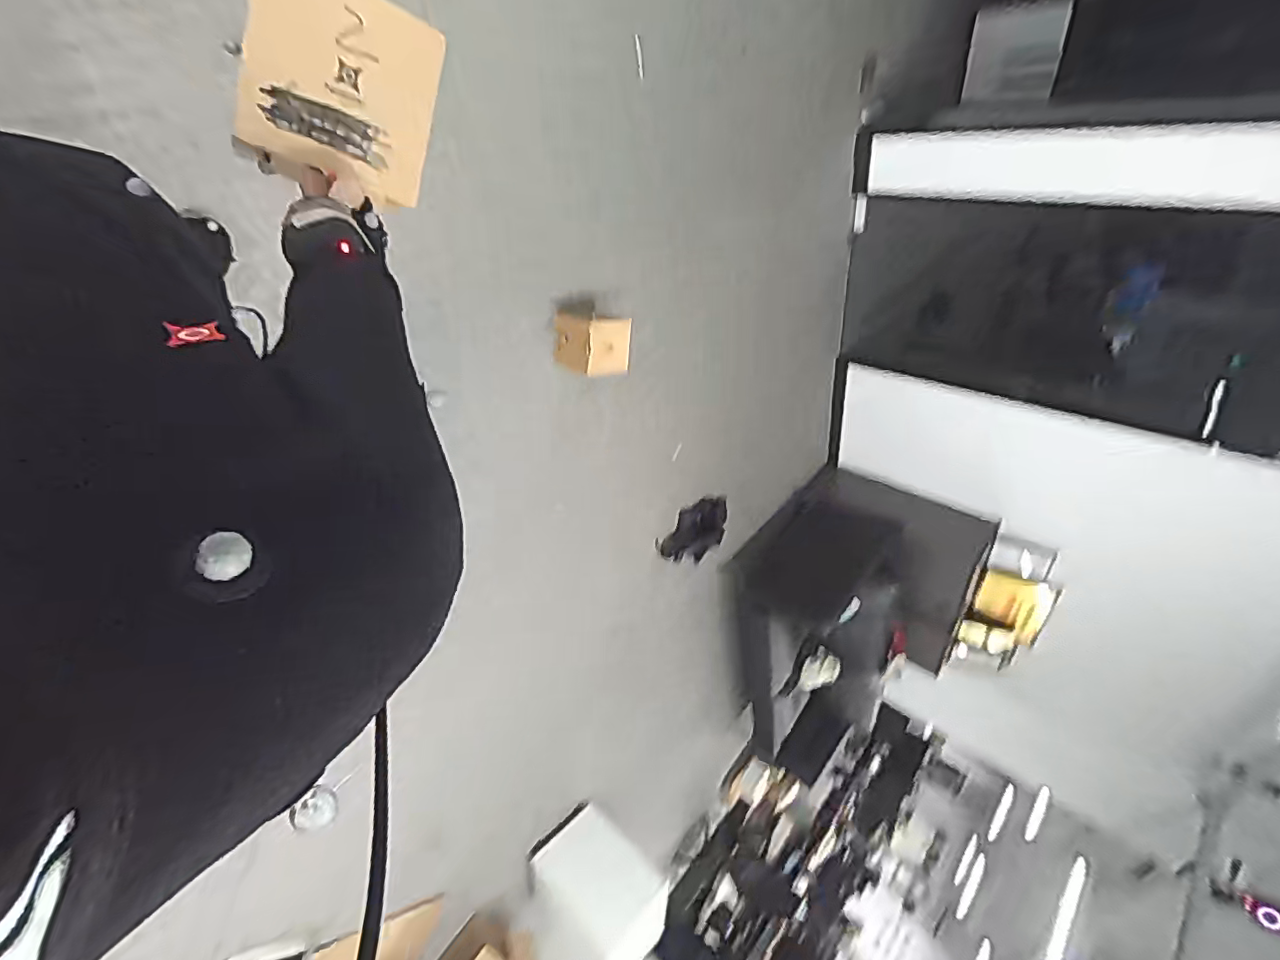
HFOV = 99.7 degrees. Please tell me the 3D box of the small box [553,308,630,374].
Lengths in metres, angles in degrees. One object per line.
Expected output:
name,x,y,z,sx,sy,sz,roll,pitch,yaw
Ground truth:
small box,-0.157,-0.448,1.724,0.179,0.176,0.168,-21,127,-42
